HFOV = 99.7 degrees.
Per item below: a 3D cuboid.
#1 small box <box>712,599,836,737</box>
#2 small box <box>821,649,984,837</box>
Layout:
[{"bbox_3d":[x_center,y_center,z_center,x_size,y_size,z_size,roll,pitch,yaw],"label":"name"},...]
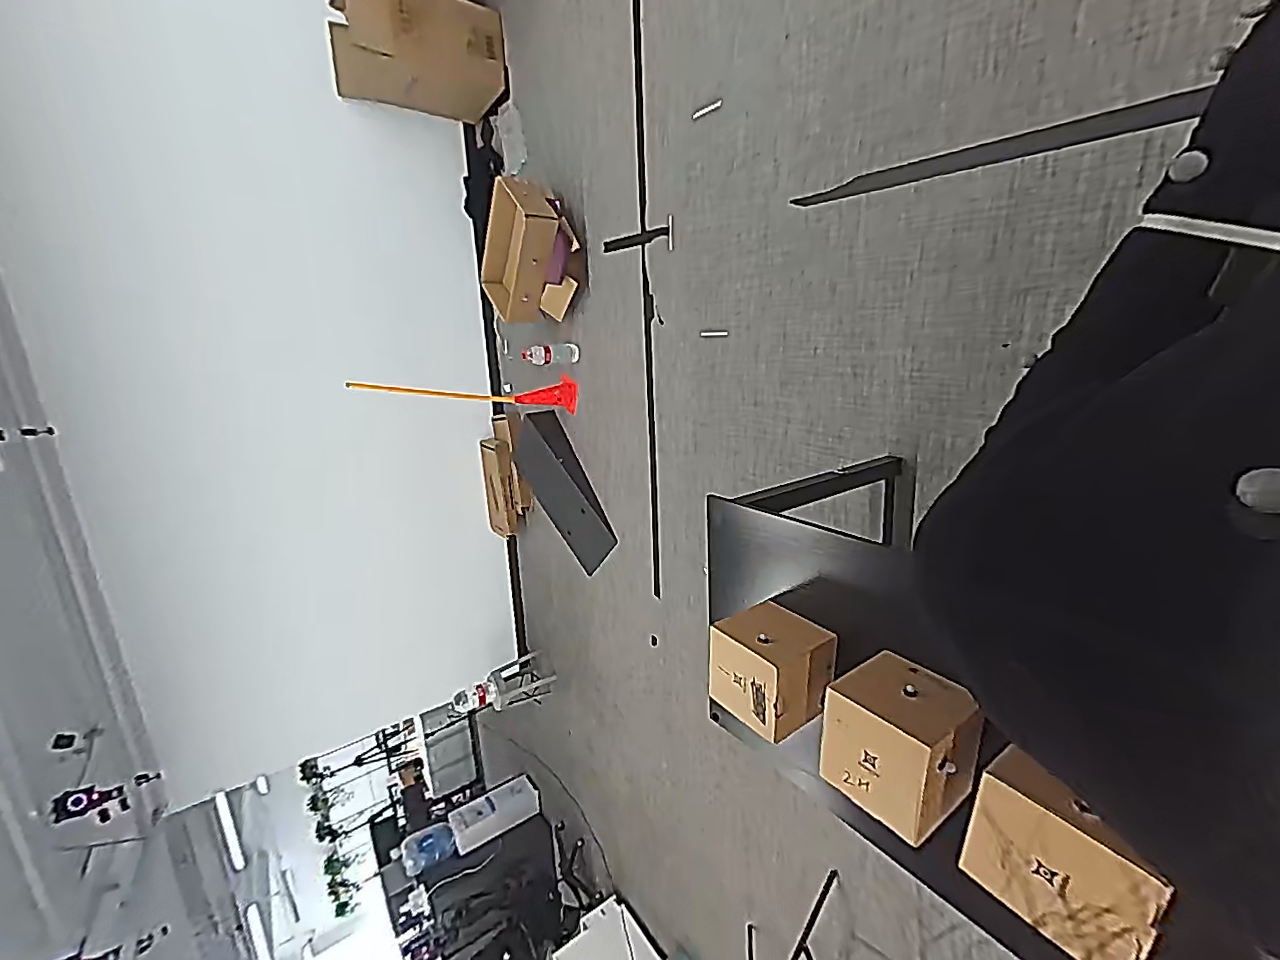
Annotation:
[{"bbox_3d":[0.261,0.354,1.062,0.179,0.176,0.168,22,118,52],"label":"small box"},{"bbox_3d":[0.412,0.397,0.853,0.168,0.176,0.179,21,117,52],"label":"small box"}]
